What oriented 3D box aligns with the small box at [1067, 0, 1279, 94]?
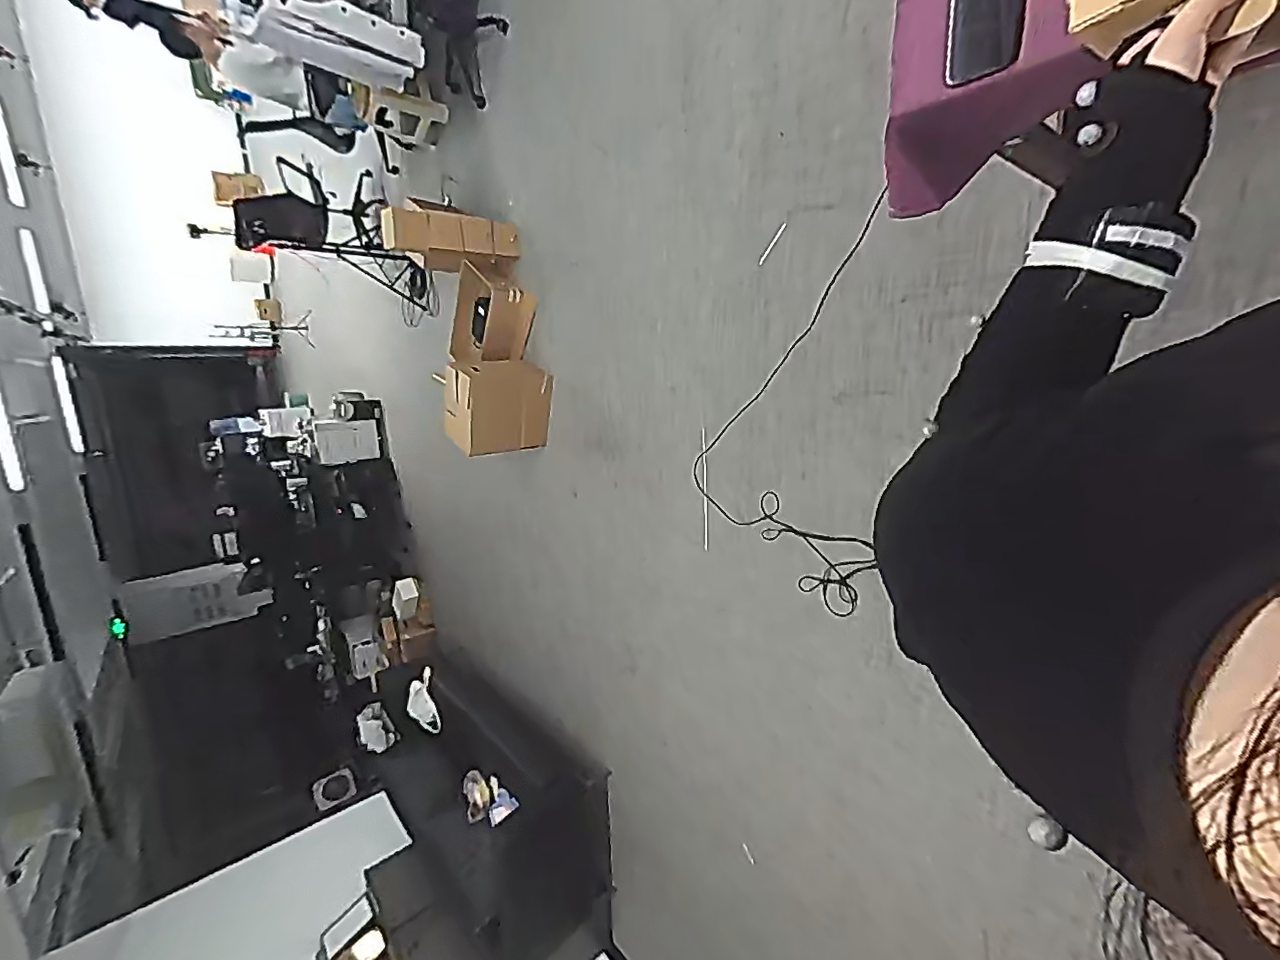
[{"bbox_3d":[0.441,-0.422,0.380,0.168,0.176,0.179,12,104,57],"label":"small box"}]
